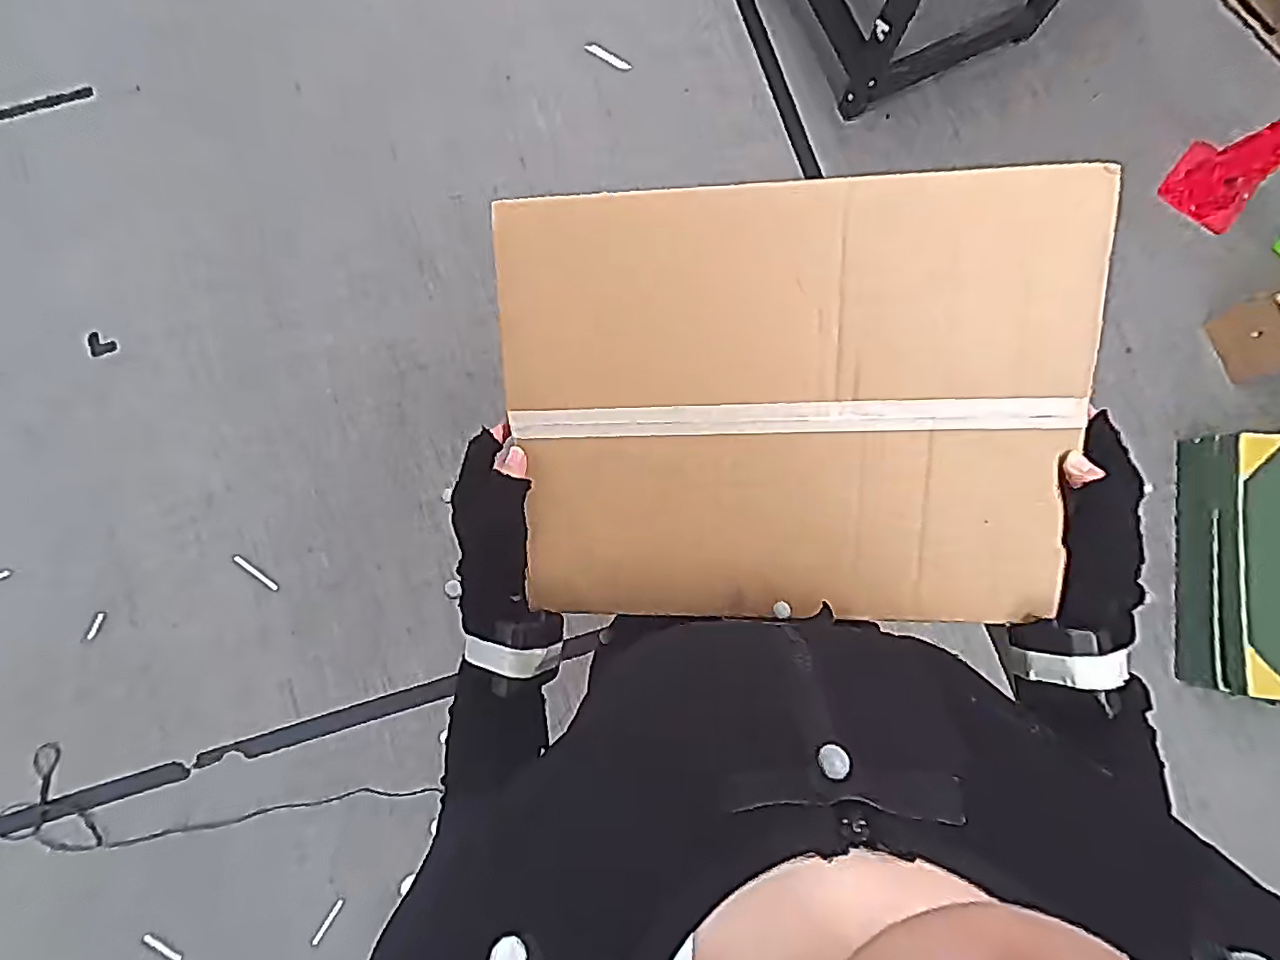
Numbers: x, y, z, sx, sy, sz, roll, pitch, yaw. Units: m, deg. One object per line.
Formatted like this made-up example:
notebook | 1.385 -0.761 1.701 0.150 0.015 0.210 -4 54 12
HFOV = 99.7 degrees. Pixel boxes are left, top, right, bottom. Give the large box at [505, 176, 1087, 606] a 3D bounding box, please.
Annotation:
large box | 0.116 -0.080 0.551 0.408 0.320 0.320 0 104 6
